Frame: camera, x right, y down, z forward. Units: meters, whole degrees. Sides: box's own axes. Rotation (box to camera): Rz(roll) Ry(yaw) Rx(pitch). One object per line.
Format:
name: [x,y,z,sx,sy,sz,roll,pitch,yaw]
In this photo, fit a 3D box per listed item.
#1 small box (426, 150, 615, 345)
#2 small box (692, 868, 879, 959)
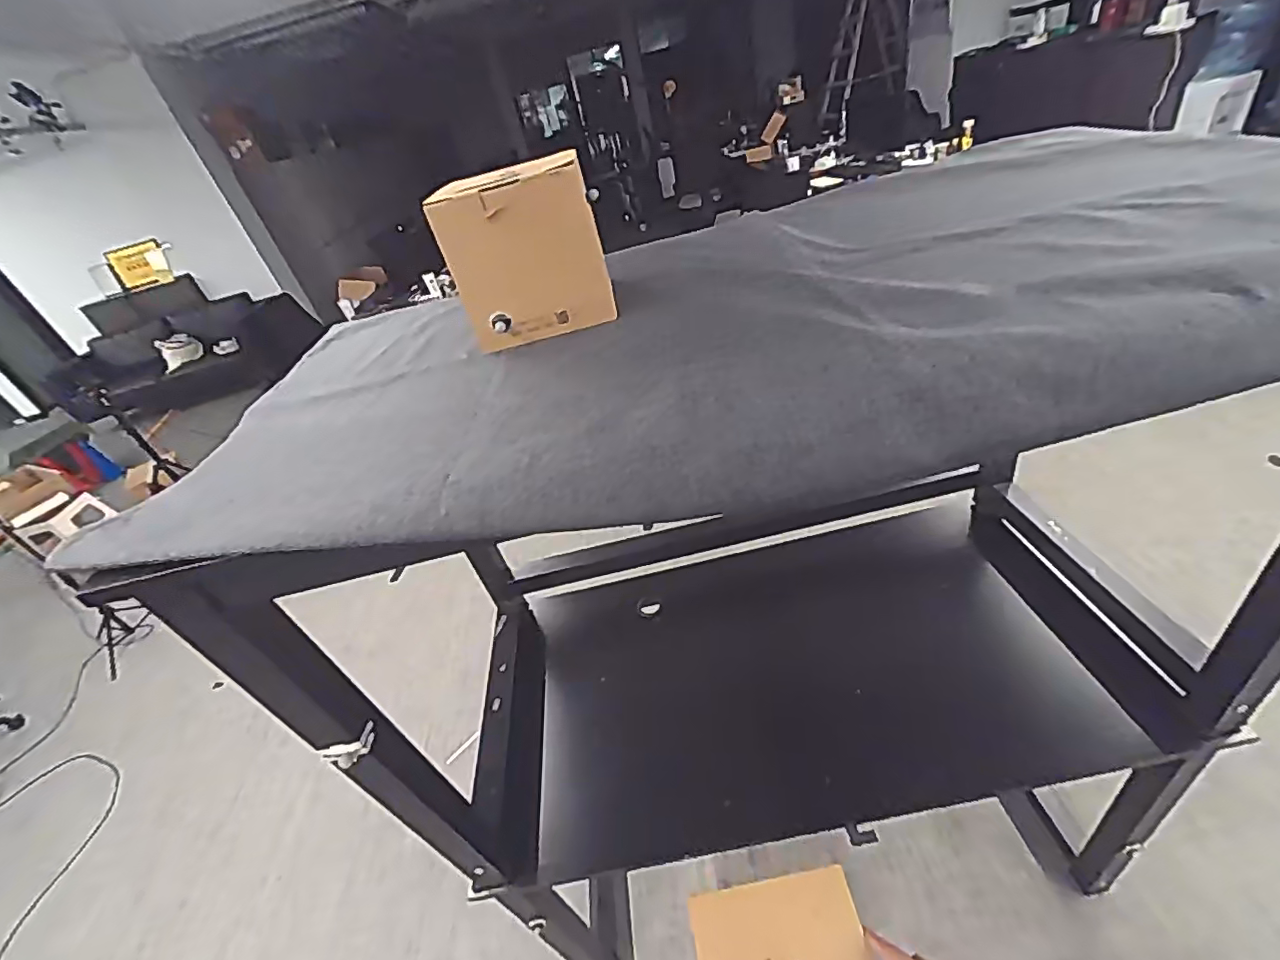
small box: [-0.131,-0.280,0.662,0.168,0.176,0.179,-14,35,3]
small box: [0.168,0.546,0.574,0.179,0.176,0.168,-16,39,4]
